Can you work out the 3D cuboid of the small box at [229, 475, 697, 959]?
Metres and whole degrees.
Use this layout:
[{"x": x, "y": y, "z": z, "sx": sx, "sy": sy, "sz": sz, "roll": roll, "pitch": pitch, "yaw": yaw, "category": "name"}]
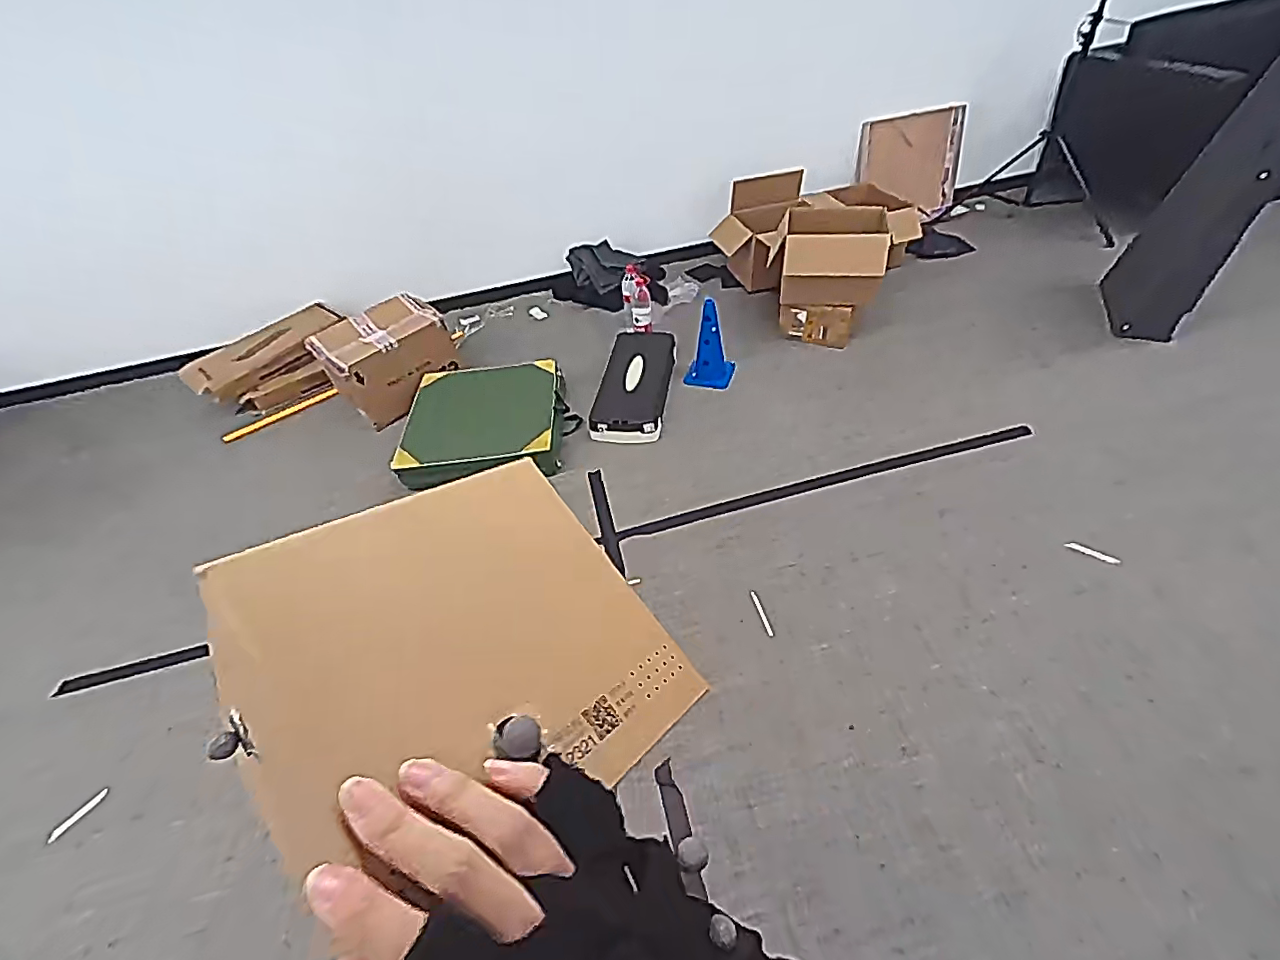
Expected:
[{"x": -0.102, "y": 0.132, "z": 0.314, "sx": 0.168, "sy": 0.179, "sz": 0.176, "roll": -25, "pitch": 68, "yaw": -44, "category": "small box"}]
